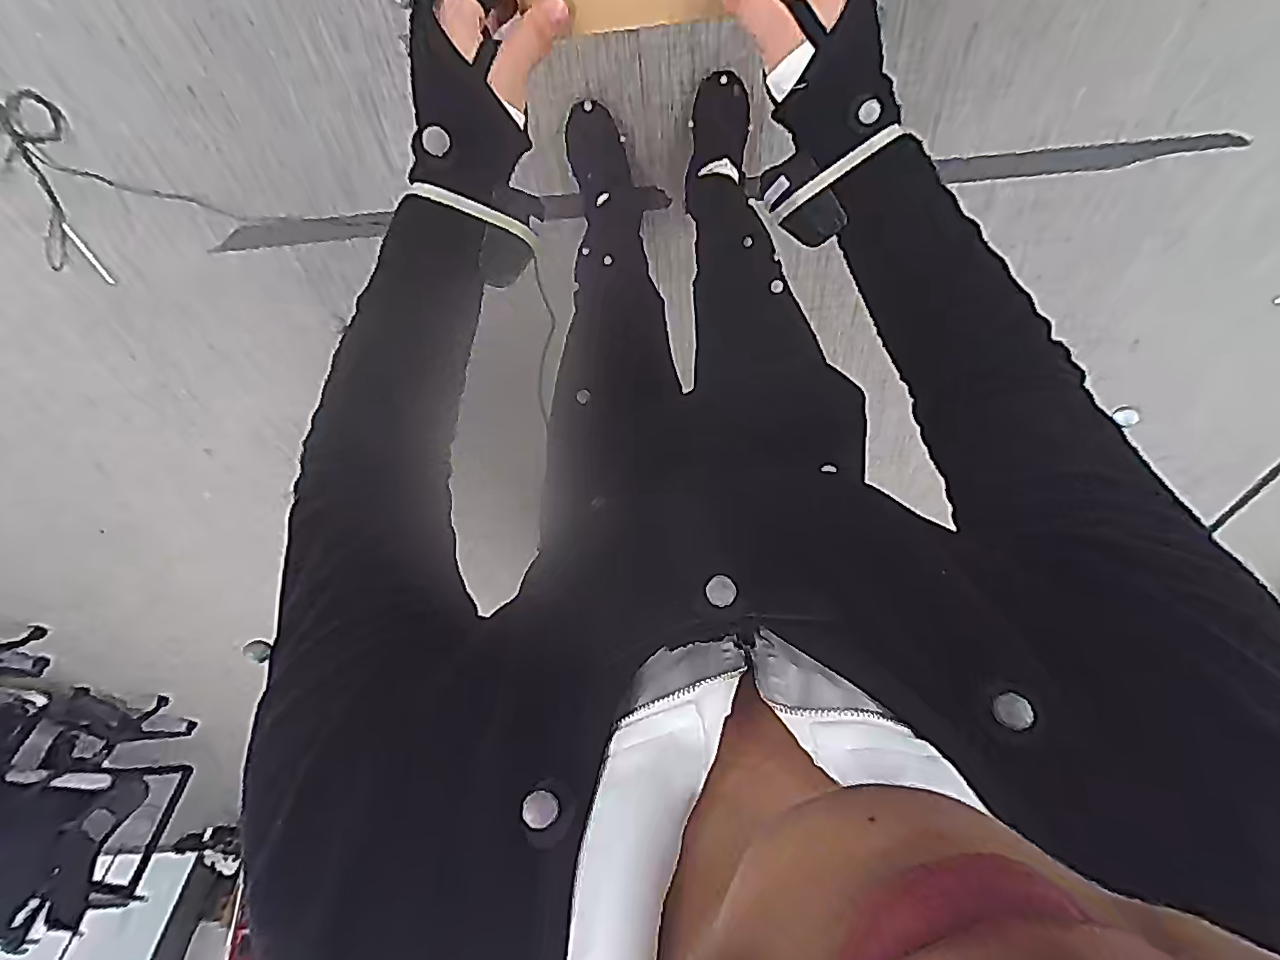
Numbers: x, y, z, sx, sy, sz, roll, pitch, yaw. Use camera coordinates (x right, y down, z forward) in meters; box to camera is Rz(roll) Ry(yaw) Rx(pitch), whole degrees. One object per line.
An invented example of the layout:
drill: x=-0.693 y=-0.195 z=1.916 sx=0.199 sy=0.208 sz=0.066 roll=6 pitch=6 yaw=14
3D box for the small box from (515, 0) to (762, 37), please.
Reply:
small box: x=-0.012 y=-0.424 z=0.354 sx=0.168 sy=0.176 sz=0.179 roll=-6 pitch=138 yaw=2
